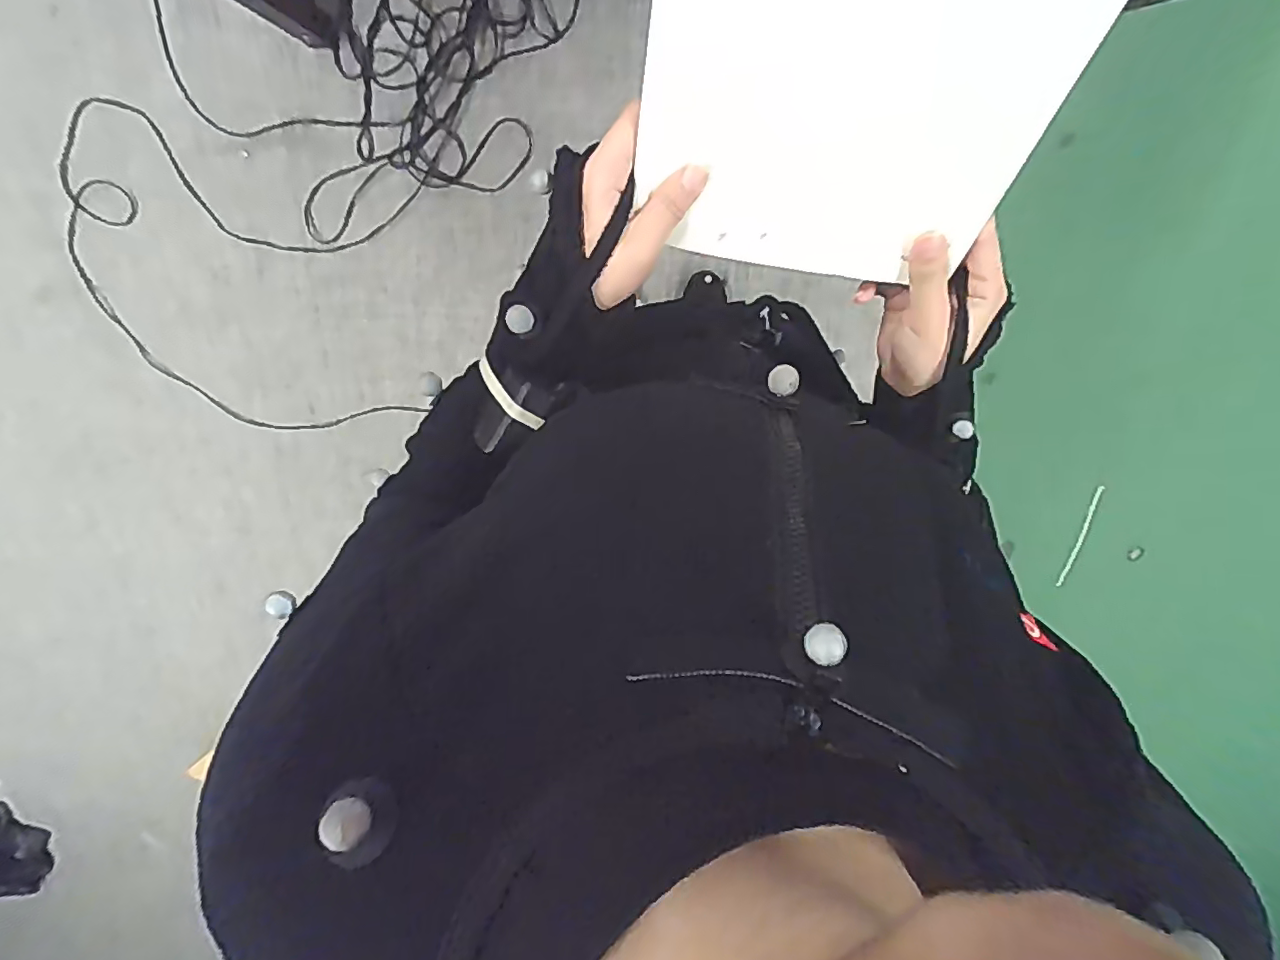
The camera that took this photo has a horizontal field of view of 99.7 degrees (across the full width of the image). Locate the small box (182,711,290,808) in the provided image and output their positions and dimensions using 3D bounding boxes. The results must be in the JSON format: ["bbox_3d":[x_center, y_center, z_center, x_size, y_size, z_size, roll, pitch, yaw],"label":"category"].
[{"bbox_3d":[-1.237,0.860,1.671,0.179,0.176,0.168,-39,109,14],"label":"small box"}]
